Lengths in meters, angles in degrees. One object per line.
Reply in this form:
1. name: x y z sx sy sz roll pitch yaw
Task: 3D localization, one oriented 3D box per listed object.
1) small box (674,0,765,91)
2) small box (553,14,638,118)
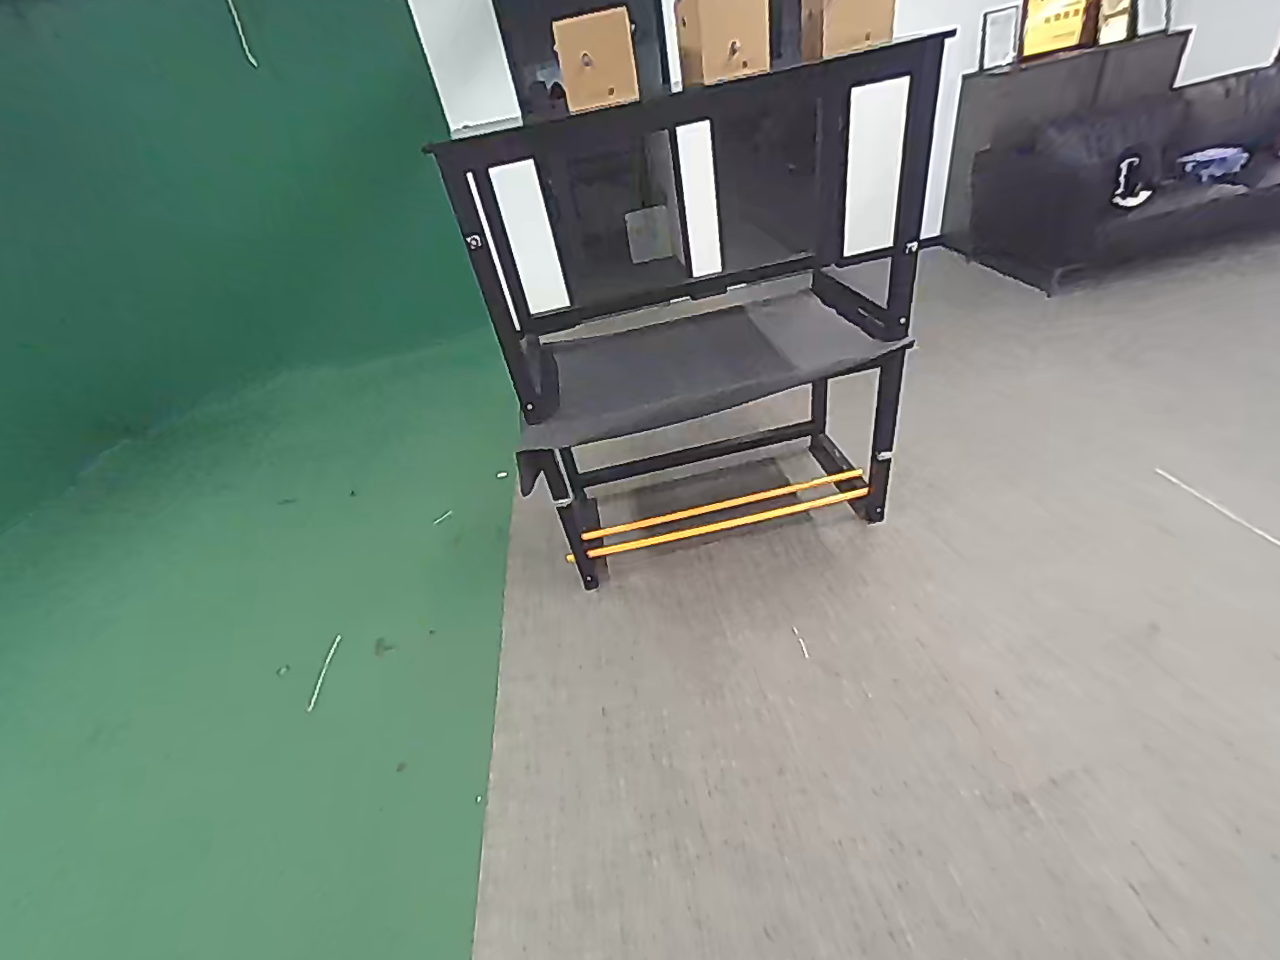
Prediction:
1. small box: 0.189 -1.047 1.292 0.168 0.176 0.179 -16 36 -4
2. small box: -0.099 -0.989 1.303 0.168 0.176 0.179 -8 36 6
